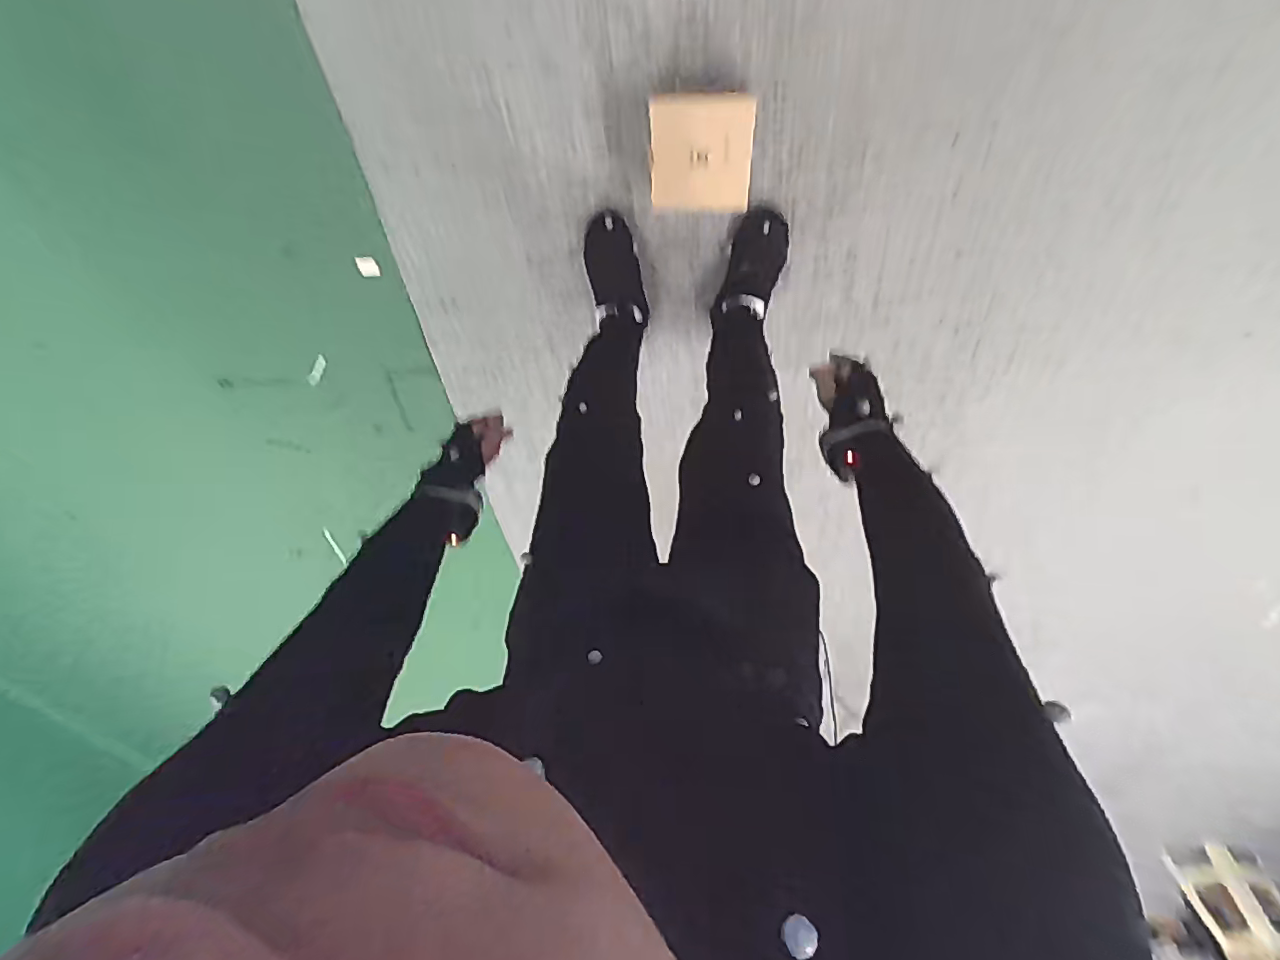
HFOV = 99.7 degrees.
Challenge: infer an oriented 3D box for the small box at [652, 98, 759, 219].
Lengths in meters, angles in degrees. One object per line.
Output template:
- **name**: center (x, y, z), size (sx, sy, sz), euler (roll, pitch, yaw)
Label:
- **small box**: center (0.115, -0.592, 0.993), size (0.179, 0.176, 0.168), euler (2, 131, 4)
